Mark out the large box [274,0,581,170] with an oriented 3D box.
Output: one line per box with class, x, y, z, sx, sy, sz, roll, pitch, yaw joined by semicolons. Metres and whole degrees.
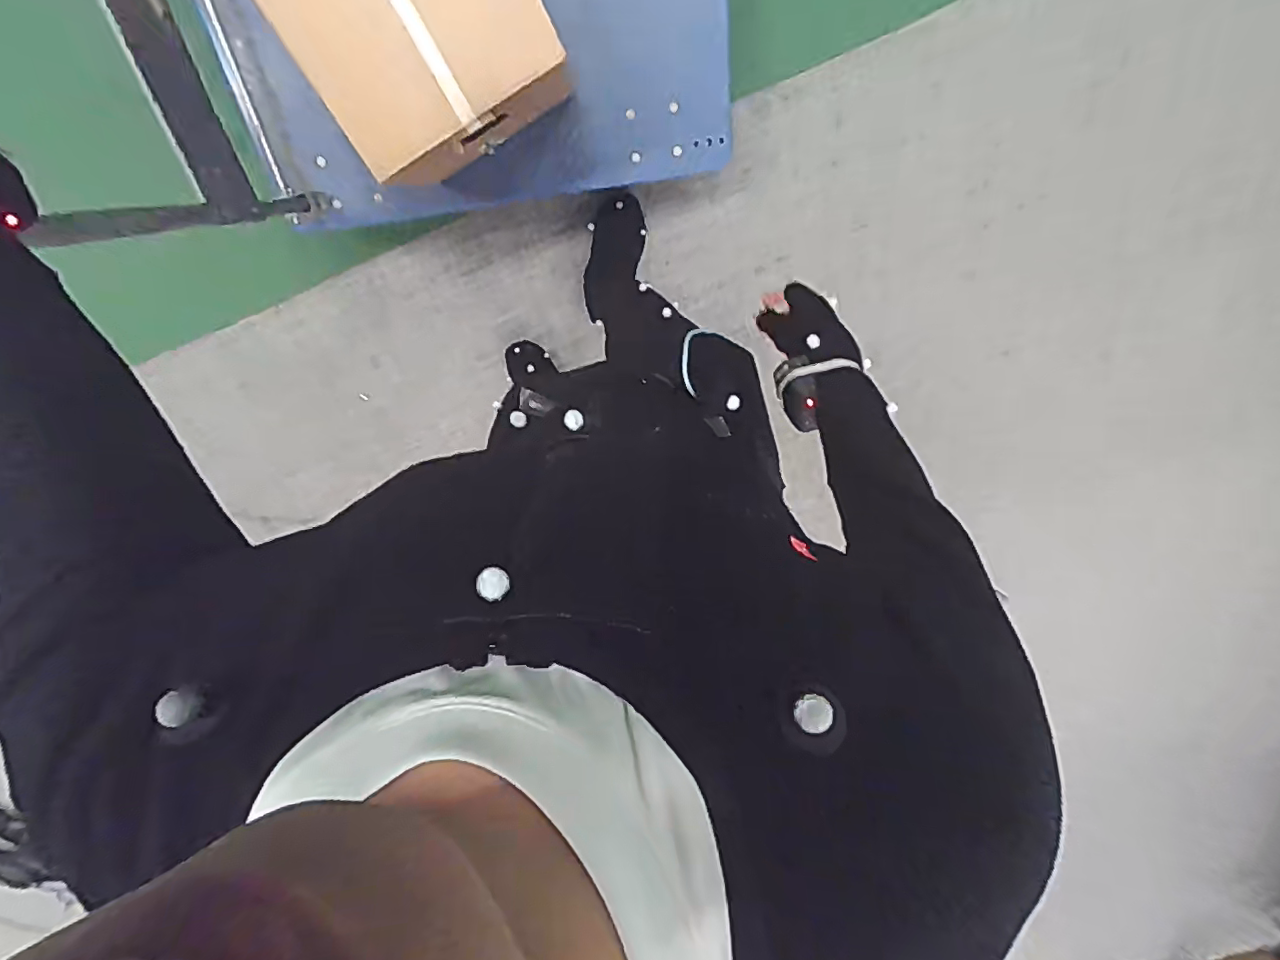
large box;-0.320;-0.723;0.770;0.320;0.320;0.408;-26;117;10
